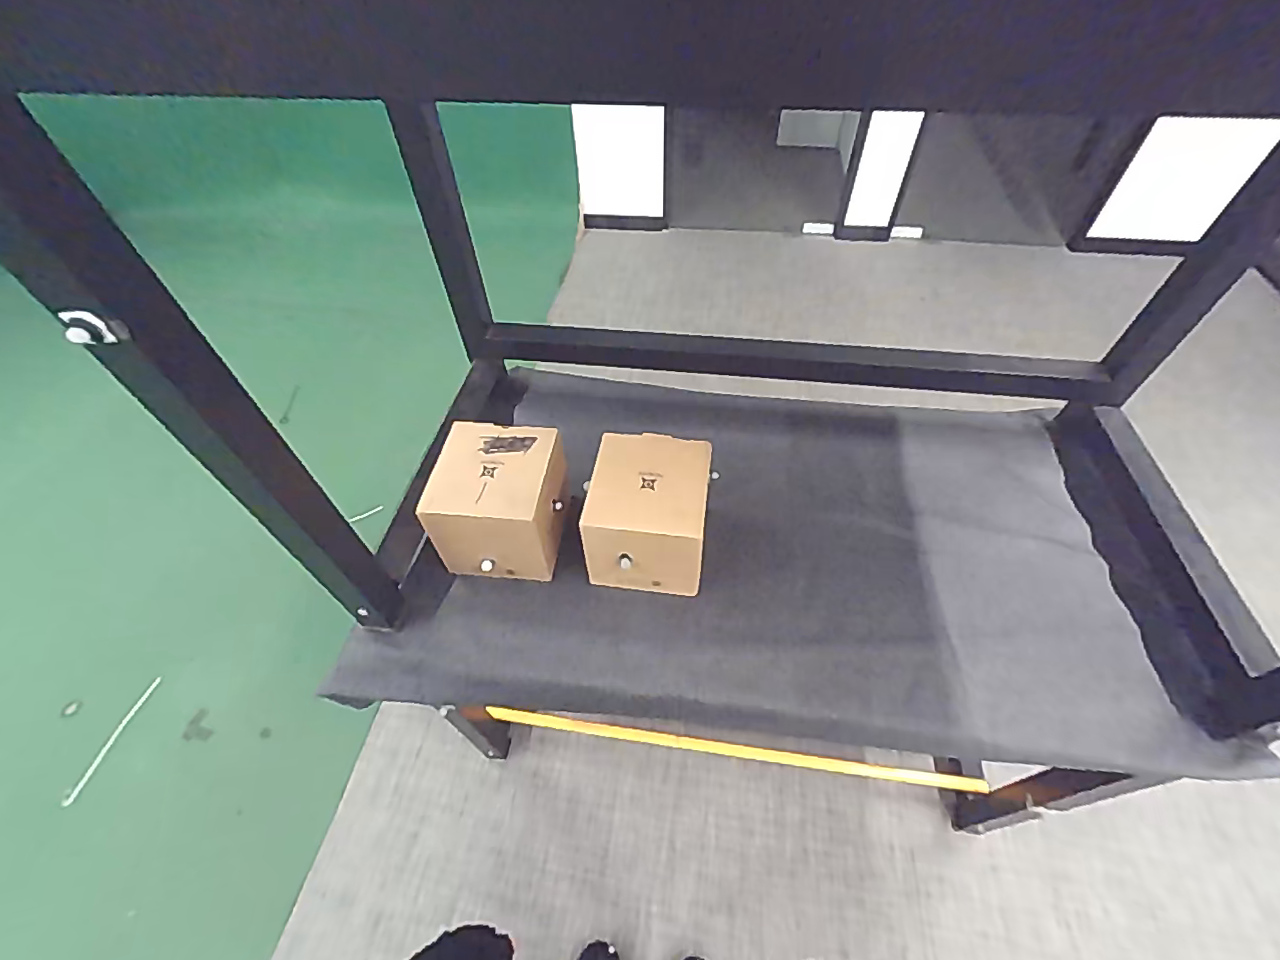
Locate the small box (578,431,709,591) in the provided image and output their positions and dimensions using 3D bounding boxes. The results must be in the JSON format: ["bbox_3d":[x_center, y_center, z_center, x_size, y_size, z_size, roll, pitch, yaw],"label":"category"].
[{"bbox_3d":[0.012,0.049,0.819,0.168,0.176,0.179,6,50,6],"label":"small box"}]

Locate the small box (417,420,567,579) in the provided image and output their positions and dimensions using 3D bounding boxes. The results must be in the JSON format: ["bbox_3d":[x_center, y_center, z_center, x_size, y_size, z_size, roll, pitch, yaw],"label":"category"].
[{"bbox_3d":[-0.213,0.031,0.838,0.168,0.176,0.179,4,51,5],"label":"small box"}]
